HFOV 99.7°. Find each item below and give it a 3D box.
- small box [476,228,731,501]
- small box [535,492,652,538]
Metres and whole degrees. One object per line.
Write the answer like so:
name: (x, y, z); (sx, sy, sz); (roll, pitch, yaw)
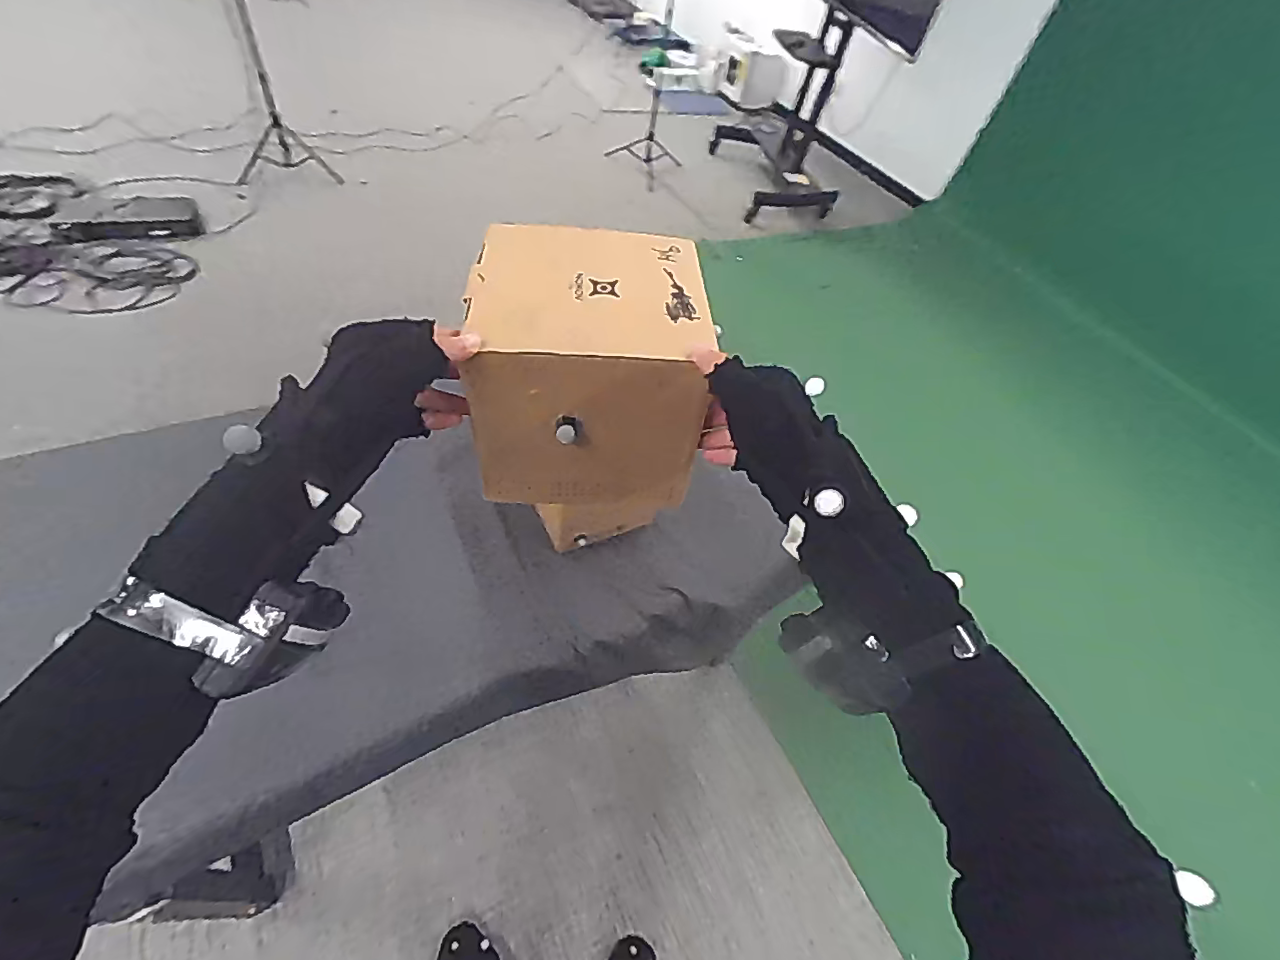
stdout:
small box: (-0.033, -0.094, 0.473); (0.179, 0.176, 0.168); (2, 52, -6)
small box: (-0.078, -0.029, 0.851); (0.168, 0.176, 0.179); (-17, 57, -24)
